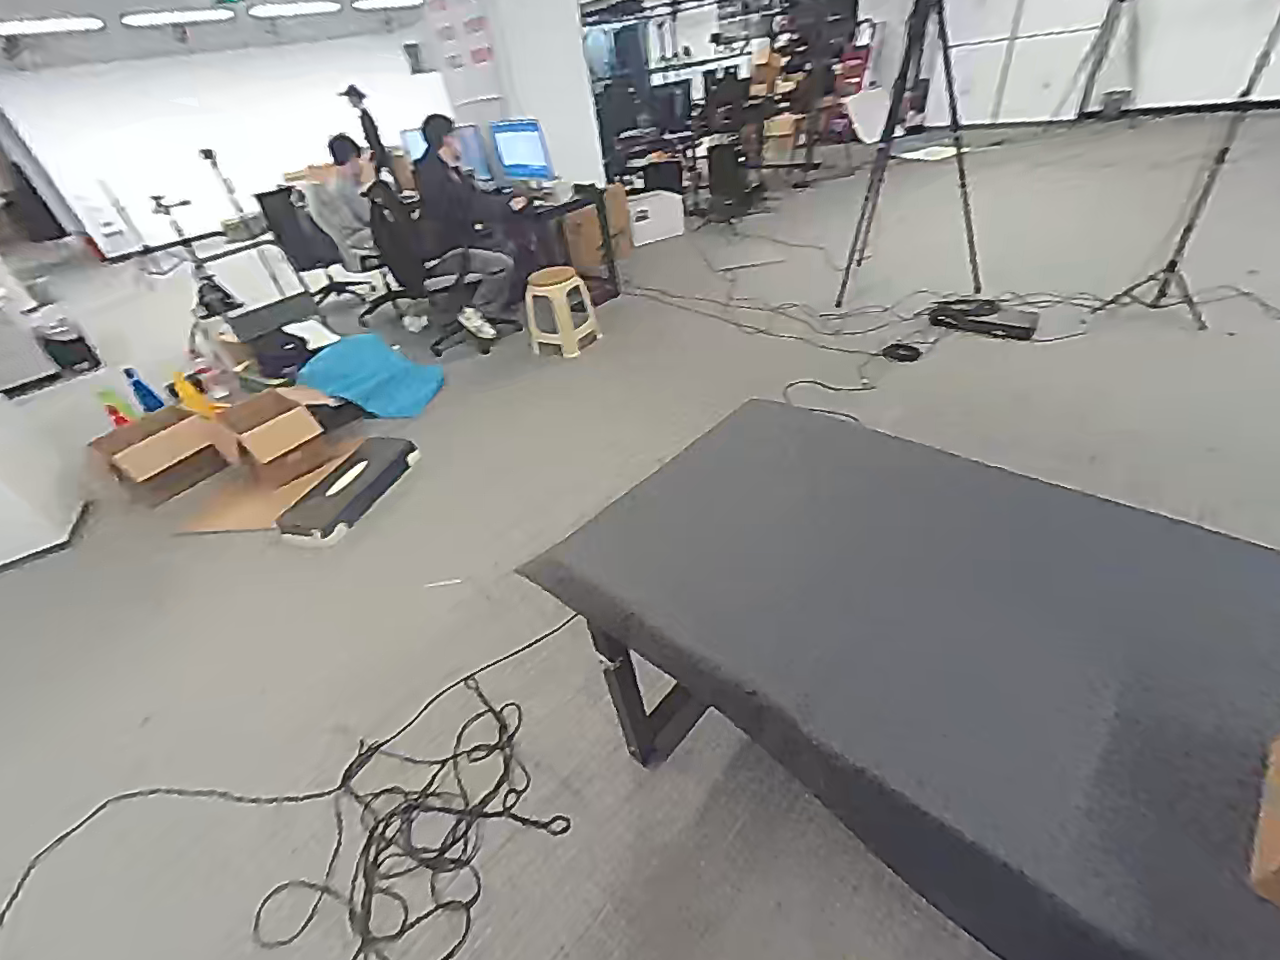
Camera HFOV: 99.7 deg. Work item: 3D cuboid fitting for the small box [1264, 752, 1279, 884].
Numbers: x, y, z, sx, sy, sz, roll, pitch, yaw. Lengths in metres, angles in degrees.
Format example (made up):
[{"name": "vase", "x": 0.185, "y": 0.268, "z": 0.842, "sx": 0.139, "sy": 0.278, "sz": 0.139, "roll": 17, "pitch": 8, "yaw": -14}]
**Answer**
[{"name": "small box", "x": 0.645, "y": 0.284, "z": 0.417, "sx": 0.168, "sy": 0.176, "sz": 0.179, "roll": 27, "pitch": 49, "yaw": 38}]
